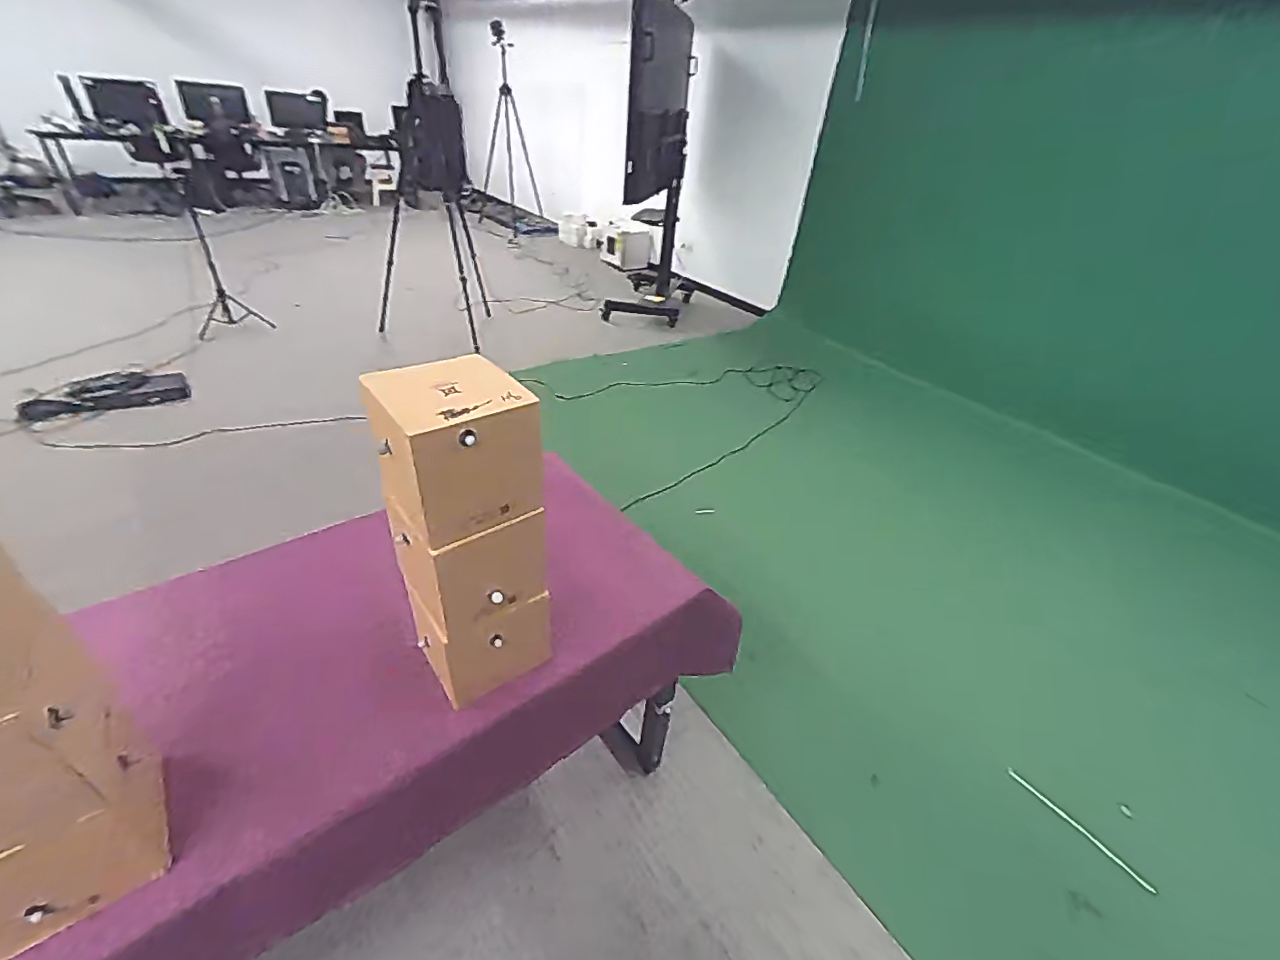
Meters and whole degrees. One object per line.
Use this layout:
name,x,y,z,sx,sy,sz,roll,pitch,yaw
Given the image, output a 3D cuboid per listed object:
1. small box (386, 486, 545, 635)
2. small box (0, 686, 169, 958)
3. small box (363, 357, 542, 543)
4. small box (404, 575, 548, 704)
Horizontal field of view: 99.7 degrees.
small box,-0.257,0.094,0.811,0.168,0.176,0.179,-23,44,-34
small box,-0.679,0.386,0.620,0.168,0.176,0.179,-20,43,-33
small box,-0.245,-0.045,0.724,0.168,0.176,0.179,-23,43,-33
small box,-0.266,0.232,0.900,0.179,0.176,0.168,-20,43,-32
